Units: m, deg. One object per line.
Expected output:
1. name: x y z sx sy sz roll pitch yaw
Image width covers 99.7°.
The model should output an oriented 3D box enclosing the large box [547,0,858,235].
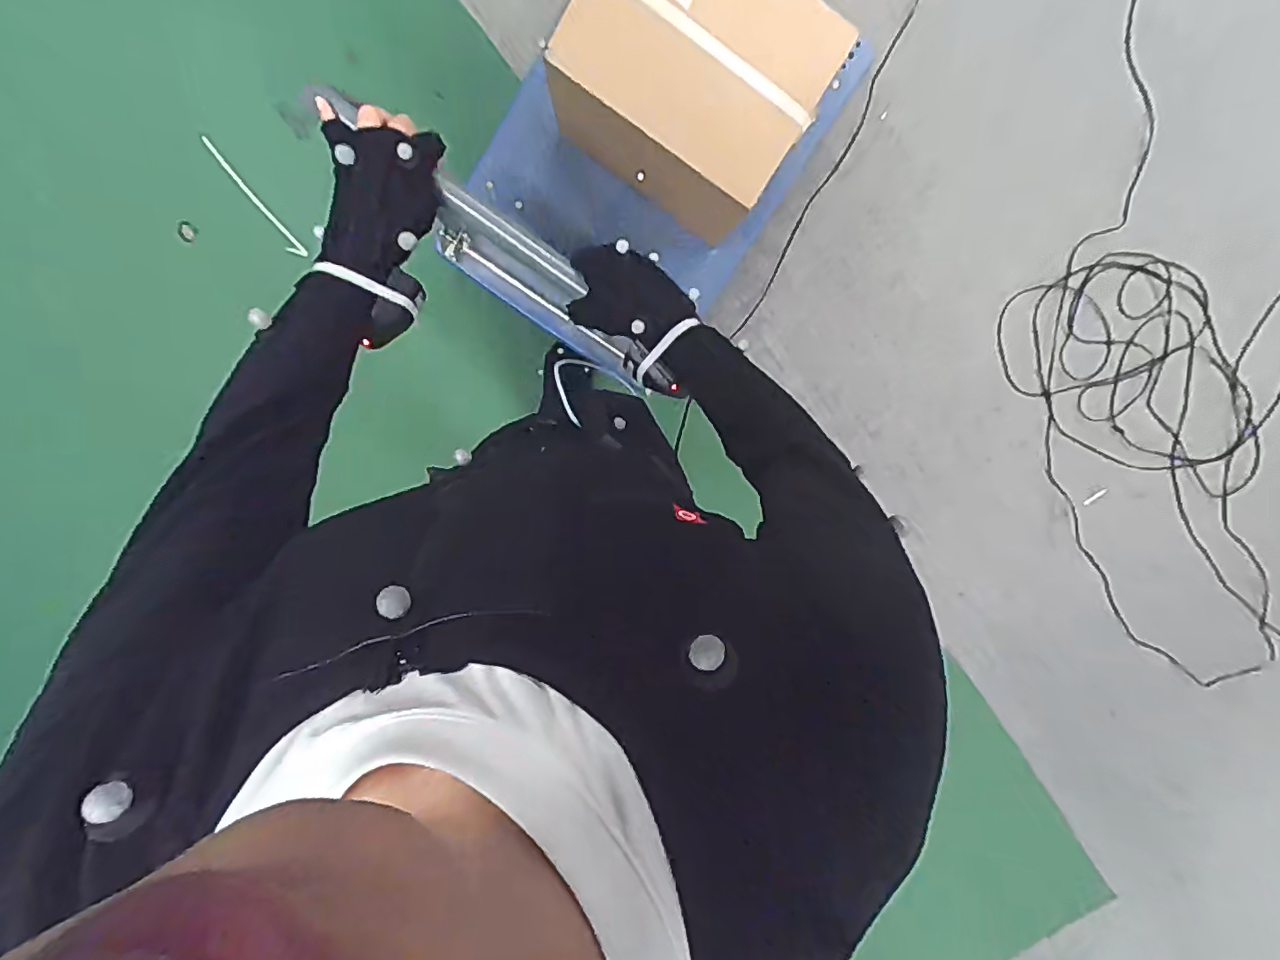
1. large box: 0.096 -0.725 0.995 0.408 0.320 0.320 31 99 -9
